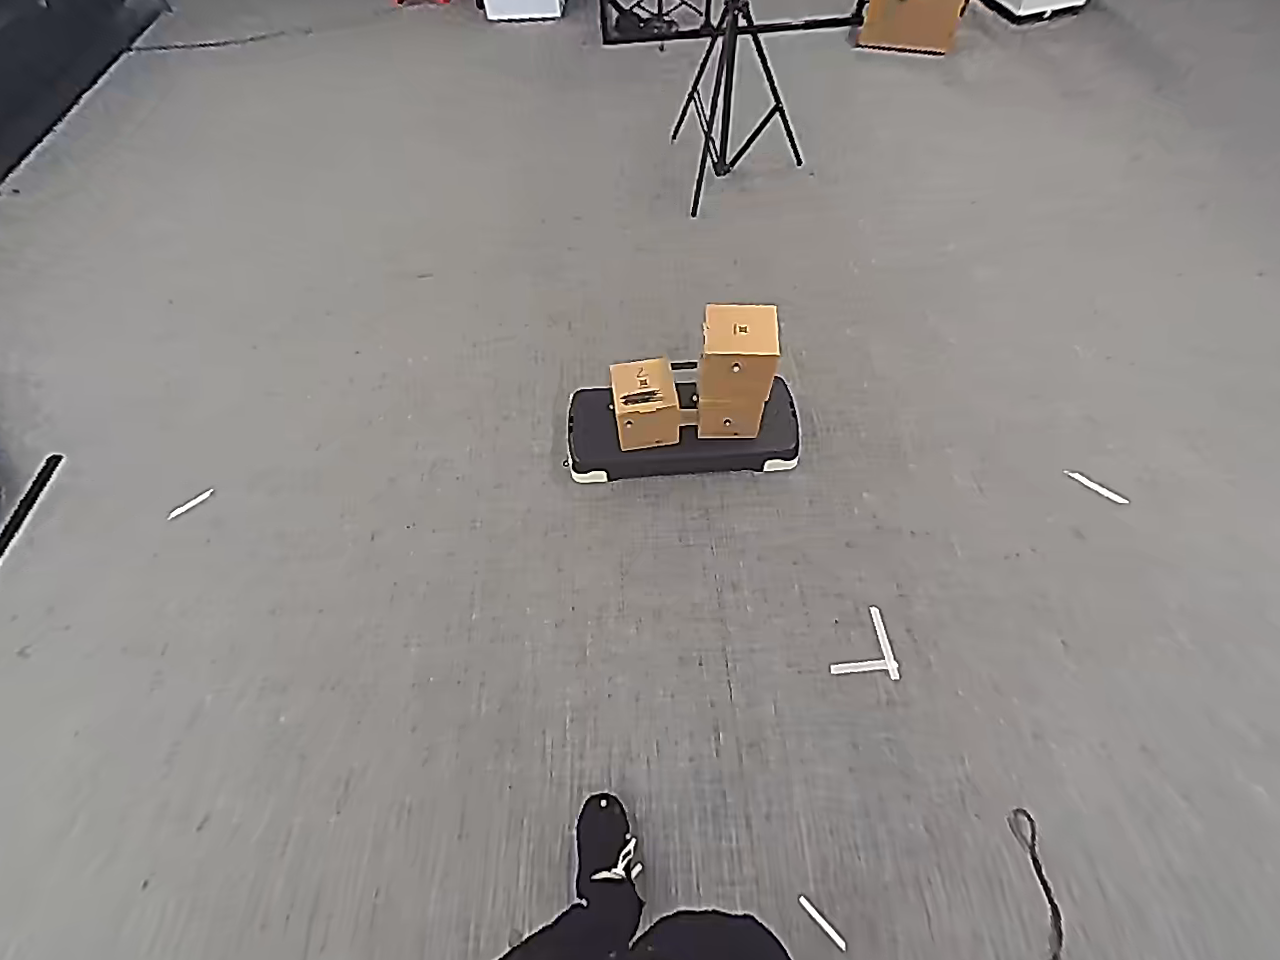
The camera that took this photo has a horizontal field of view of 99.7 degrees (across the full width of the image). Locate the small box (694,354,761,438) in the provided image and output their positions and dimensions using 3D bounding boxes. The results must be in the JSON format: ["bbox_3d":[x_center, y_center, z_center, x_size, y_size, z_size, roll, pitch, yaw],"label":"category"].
[{"bbox_3d":[0.236,-0.229,1.494,0.168,0.176,0.179,0,59,3],"label":"small box"}]

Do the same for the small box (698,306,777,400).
[{"bbox_3d":[0.239,-0.313,1.354,0.179,0.176,0.168,2,60,5],"label":"small box"}]
